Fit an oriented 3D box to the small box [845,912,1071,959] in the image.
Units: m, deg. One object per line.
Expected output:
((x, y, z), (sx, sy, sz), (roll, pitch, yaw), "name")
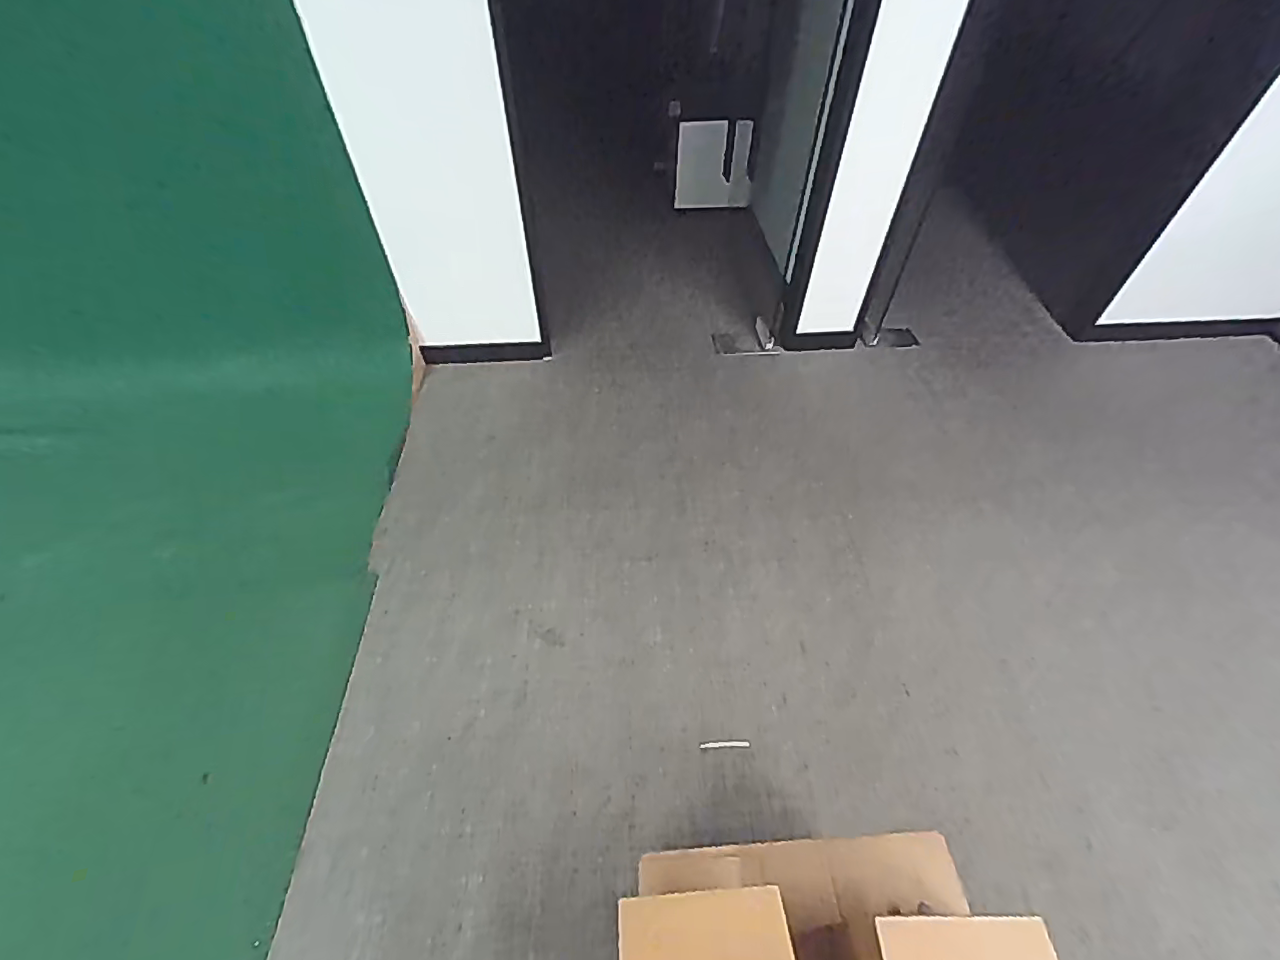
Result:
((0.320, 0.539, 0.529), (0.168, 0.176, 0.179), (-1, 48, 1), "small box")

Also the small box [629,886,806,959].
((0.079, 0.531, 0.515), (0.168, 0.176, 0.179), (-6, 33, -1), "small box")
